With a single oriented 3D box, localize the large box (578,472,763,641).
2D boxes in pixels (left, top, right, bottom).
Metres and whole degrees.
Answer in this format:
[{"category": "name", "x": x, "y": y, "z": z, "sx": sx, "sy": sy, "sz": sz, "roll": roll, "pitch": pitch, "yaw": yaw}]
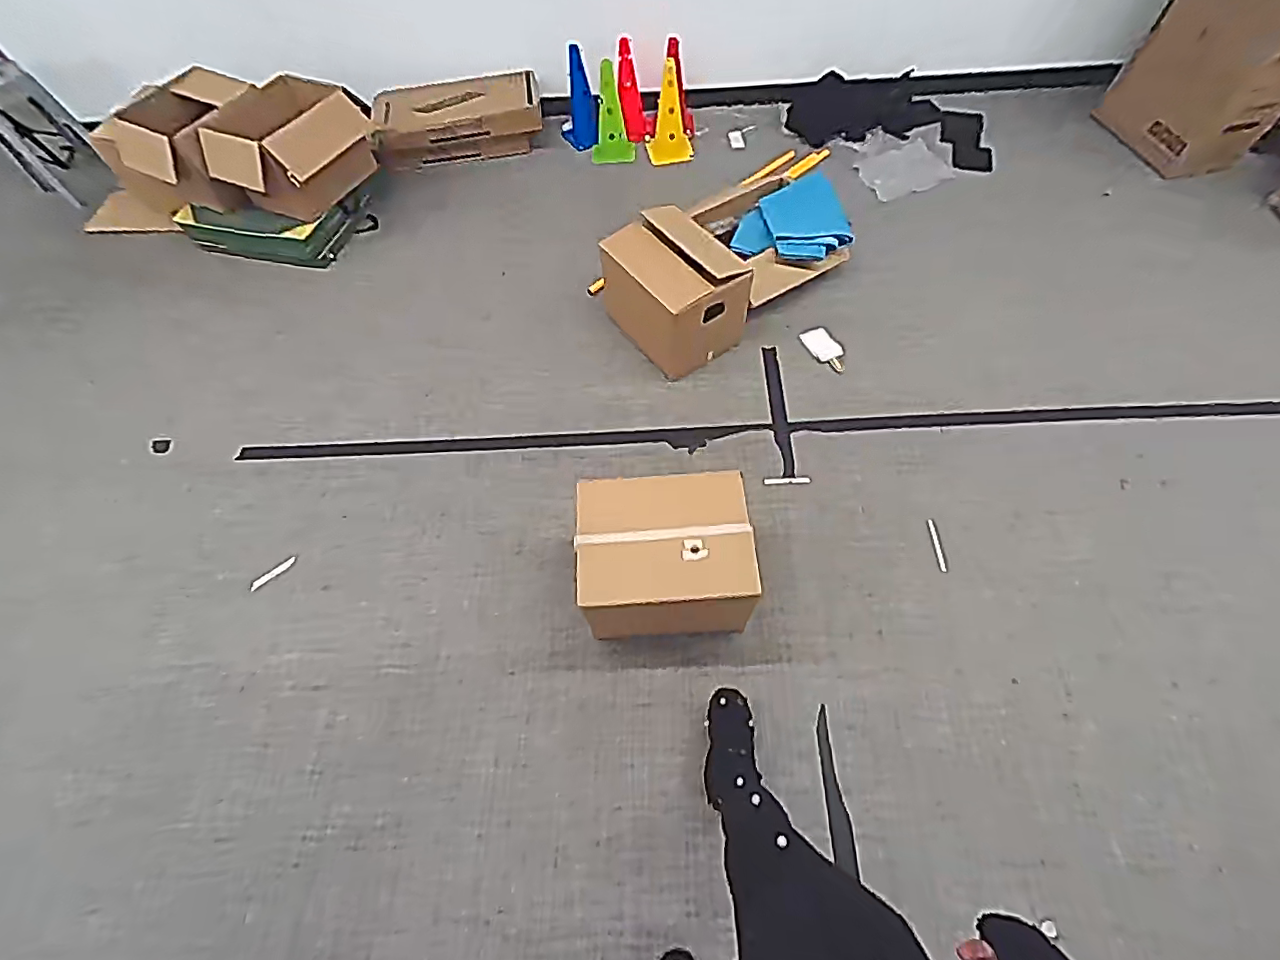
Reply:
[{"category": "large box", "x": 0.063, "y": 0.203, "z": 1.362, "sx": 0.408, "sy": 0.320, "sz": 0.320, "roll": -4, "pitch": 61, "yaw": 0}]
